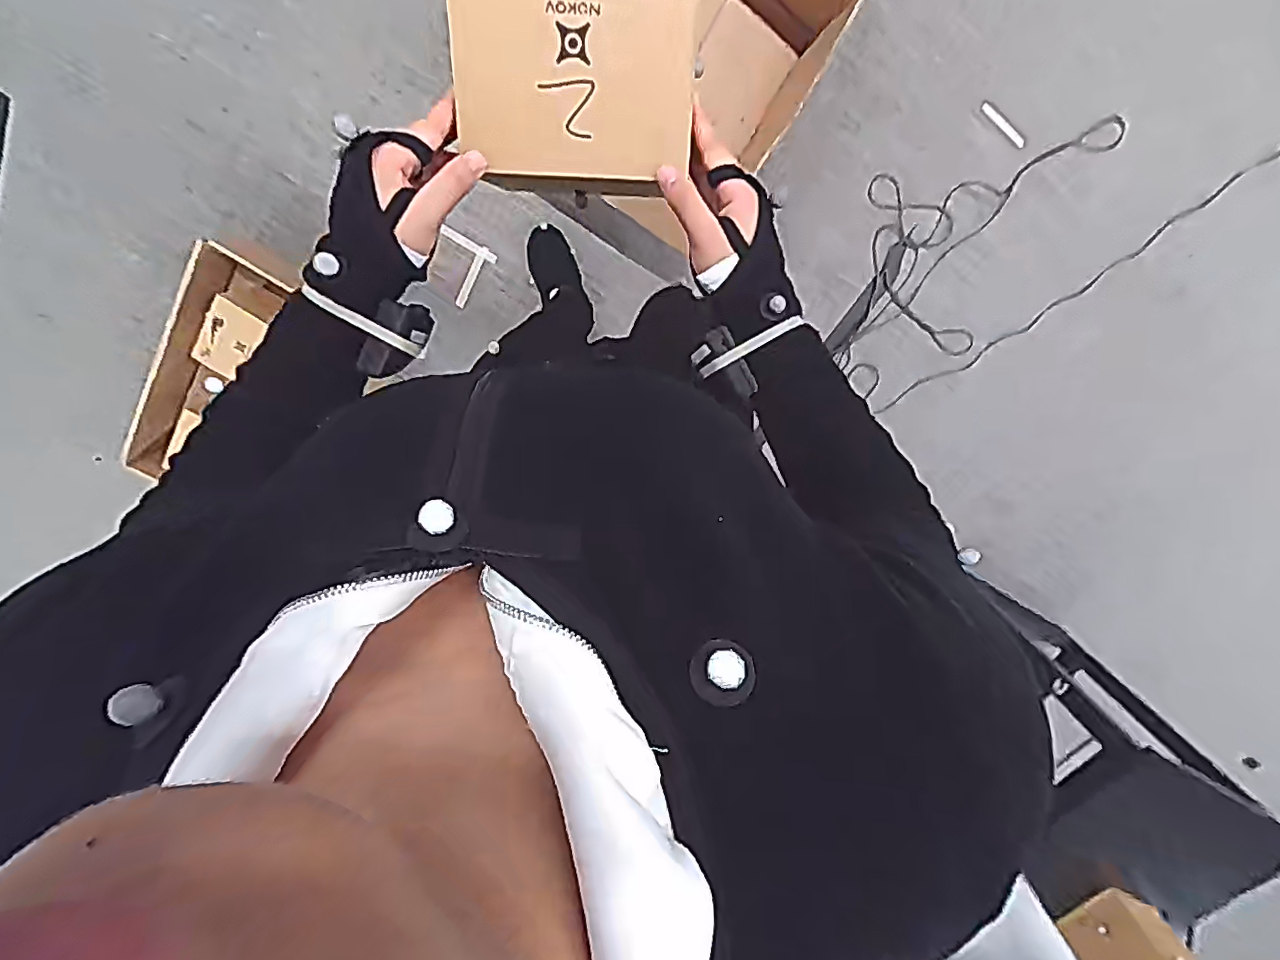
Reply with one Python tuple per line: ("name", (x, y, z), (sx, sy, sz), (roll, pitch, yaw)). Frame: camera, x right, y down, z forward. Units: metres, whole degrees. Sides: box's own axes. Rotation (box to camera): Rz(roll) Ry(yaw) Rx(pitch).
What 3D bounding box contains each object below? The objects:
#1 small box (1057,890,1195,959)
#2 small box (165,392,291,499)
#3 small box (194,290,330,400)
("small box", (1.082, 1.043, 1.182), (0.179, 0.176, 0.168), (30, 109, -14))
("small box", (-1.011, -0.090, 1.342), (0.168, 0.176, 0.179), (30, 107, -17))
("small box", (-0.859, -0.318, 1.248), (0.179, 0.176, 0.168), (33, 109, -17))
